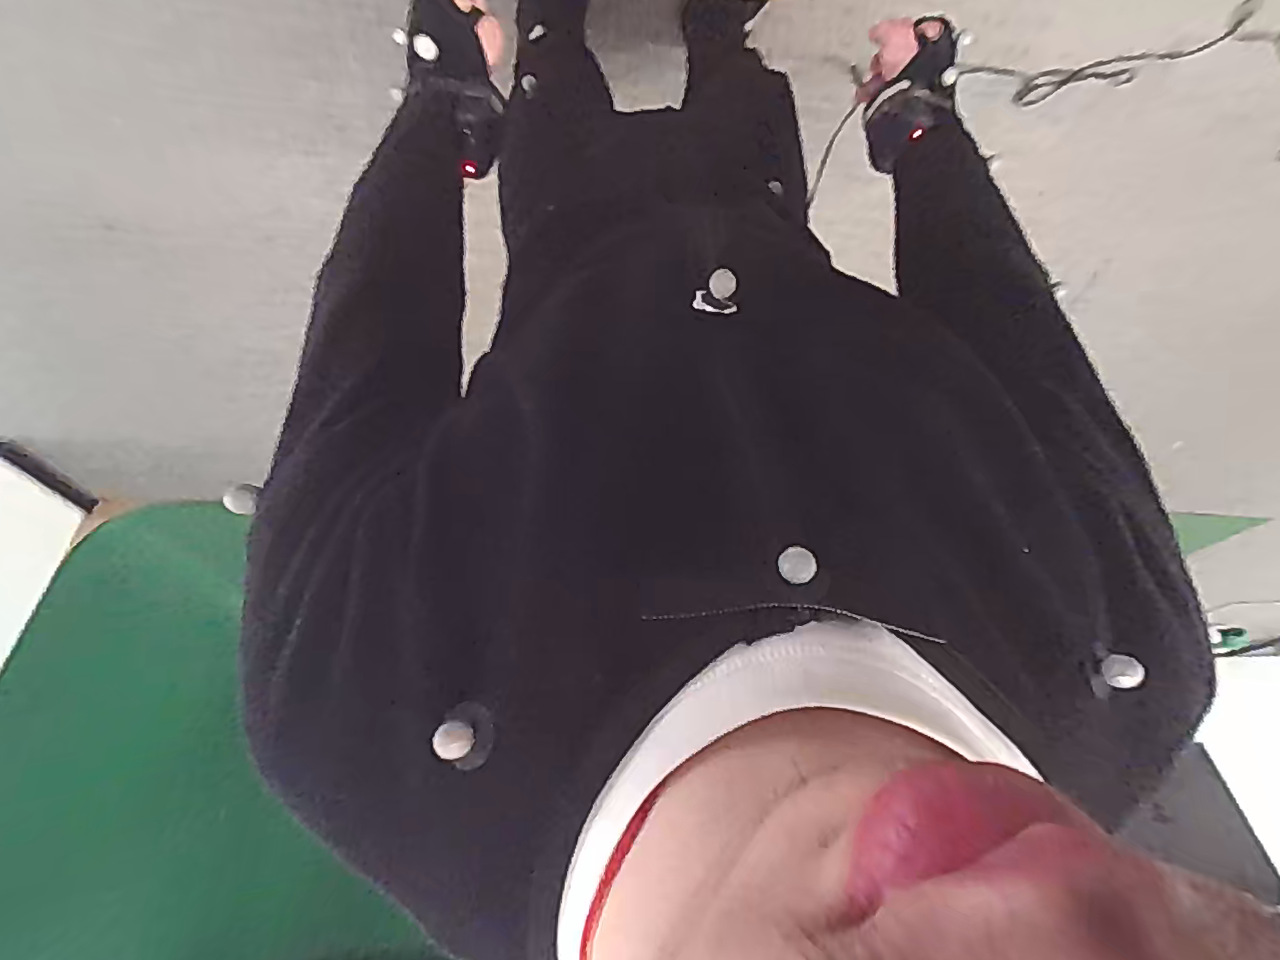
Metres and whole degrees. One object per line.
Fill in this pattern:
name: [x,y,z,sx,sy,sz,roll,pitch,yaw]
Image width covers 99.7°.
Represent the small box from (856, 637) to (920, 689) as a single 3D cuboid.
small box: [1.014,0.752,2.230,0.168,0.176,0.179,-2,147,-4]
